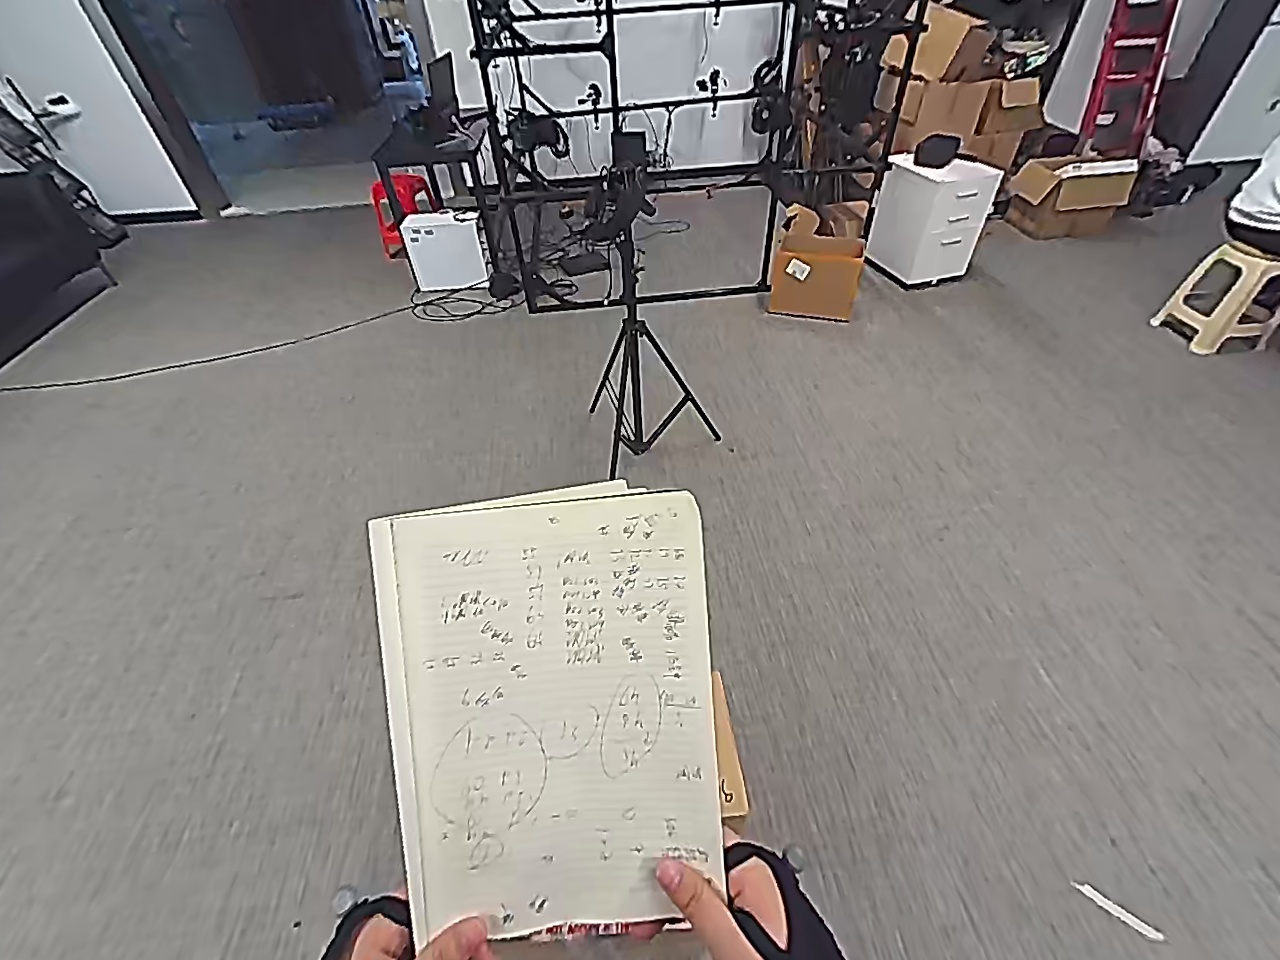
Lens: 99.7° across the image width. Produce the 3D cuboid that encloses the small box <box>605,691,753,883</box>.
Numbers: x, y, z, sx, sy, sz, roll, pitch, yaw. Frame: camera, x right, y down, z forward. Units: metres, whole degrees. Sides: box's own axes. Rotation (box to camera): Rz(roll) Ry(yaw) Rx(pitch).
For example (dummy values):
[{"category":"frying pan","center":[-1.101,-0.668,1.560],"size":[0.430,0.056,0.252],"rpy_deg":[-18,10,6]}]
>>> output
[{"category":"small box","center":[0.039,0.407,0.721],"size":[0.168,0.176,0.179],"rpy_deg":[-4,45,-4]}]

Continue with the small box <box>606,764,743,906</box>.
[{"category":"small box","center":[0.043,0.530,0.830],"size":[0.179,0.176,0.168],"rpy_deg":[-7,45,-5]}]
